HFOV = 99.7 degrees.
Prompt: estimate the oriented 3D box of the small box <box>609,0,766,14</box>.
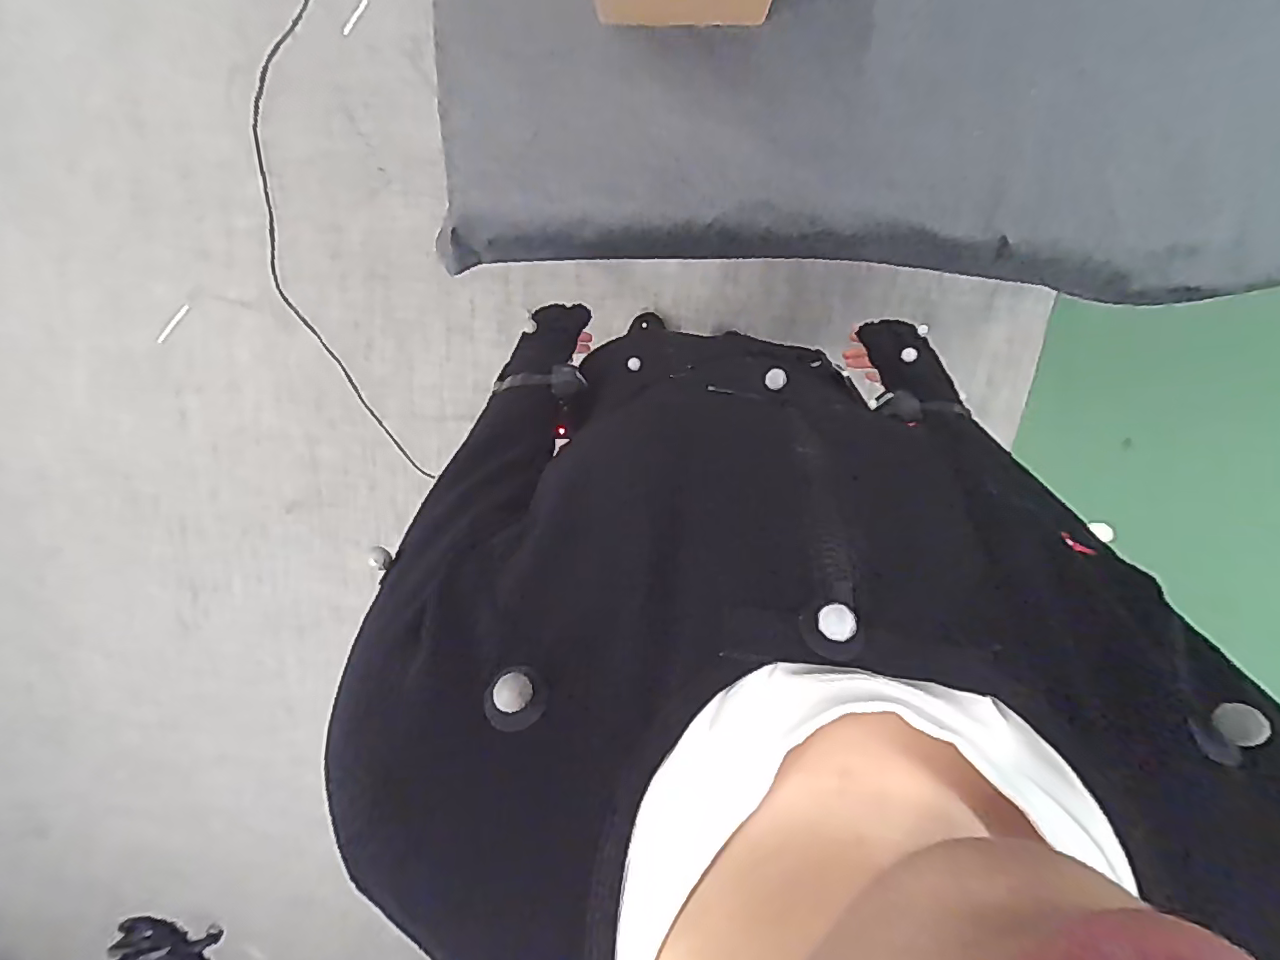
[{"bbox_3d":[0.049,-0.544,0.470,0.179,0.176,0.168,2,109,1],"label":"small box"}]
